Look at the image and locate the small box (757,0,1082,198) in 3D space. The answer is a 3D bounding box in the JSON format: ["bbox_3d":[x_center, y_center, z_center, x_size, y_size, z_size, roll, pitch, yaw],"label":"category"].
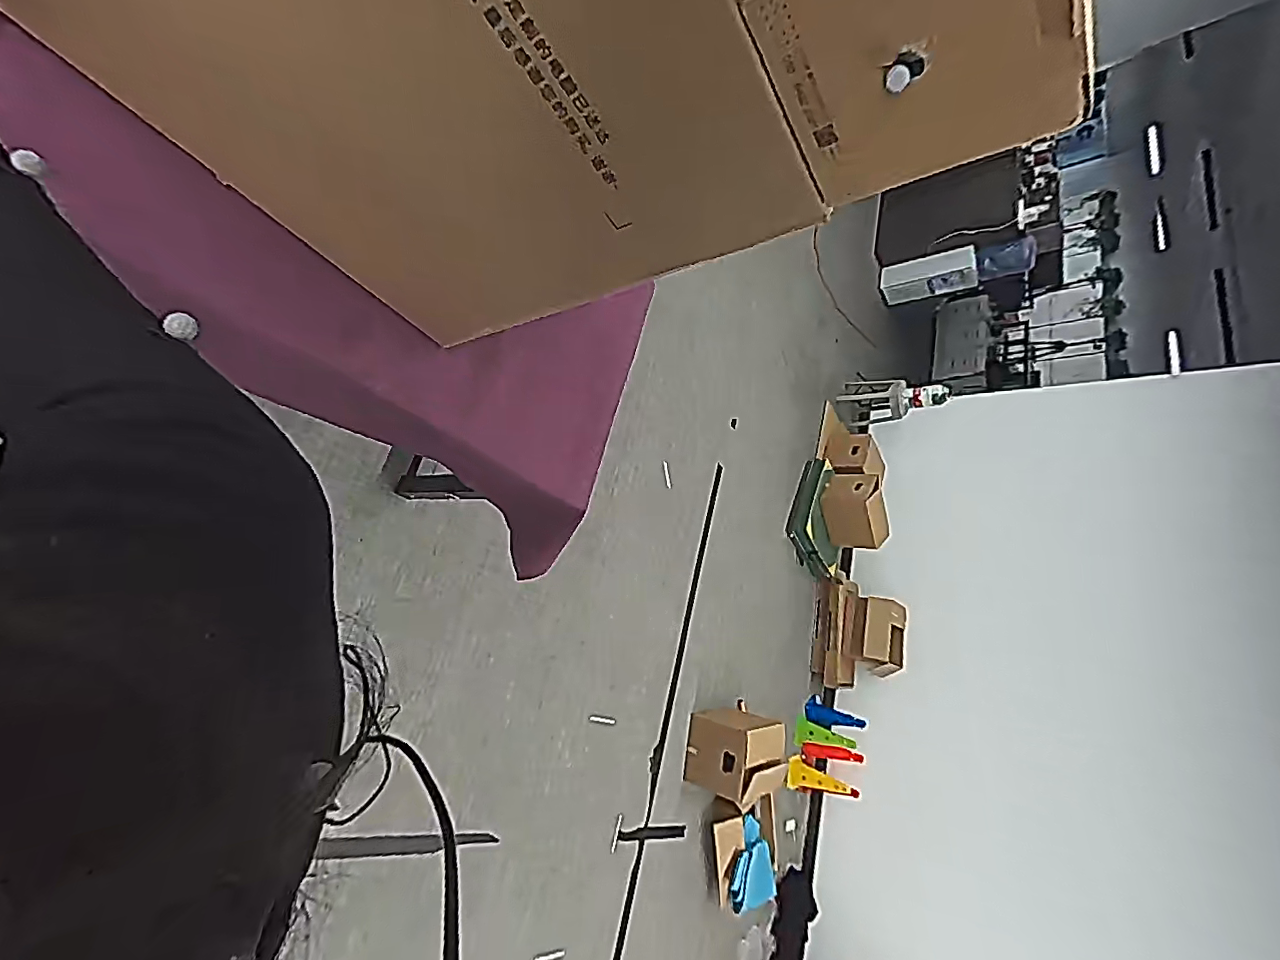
[{"bbox_3d":[0.196,-0.339,0.379,0.168,0.176,0.179,40,61,-43],"label":"small box"}]
